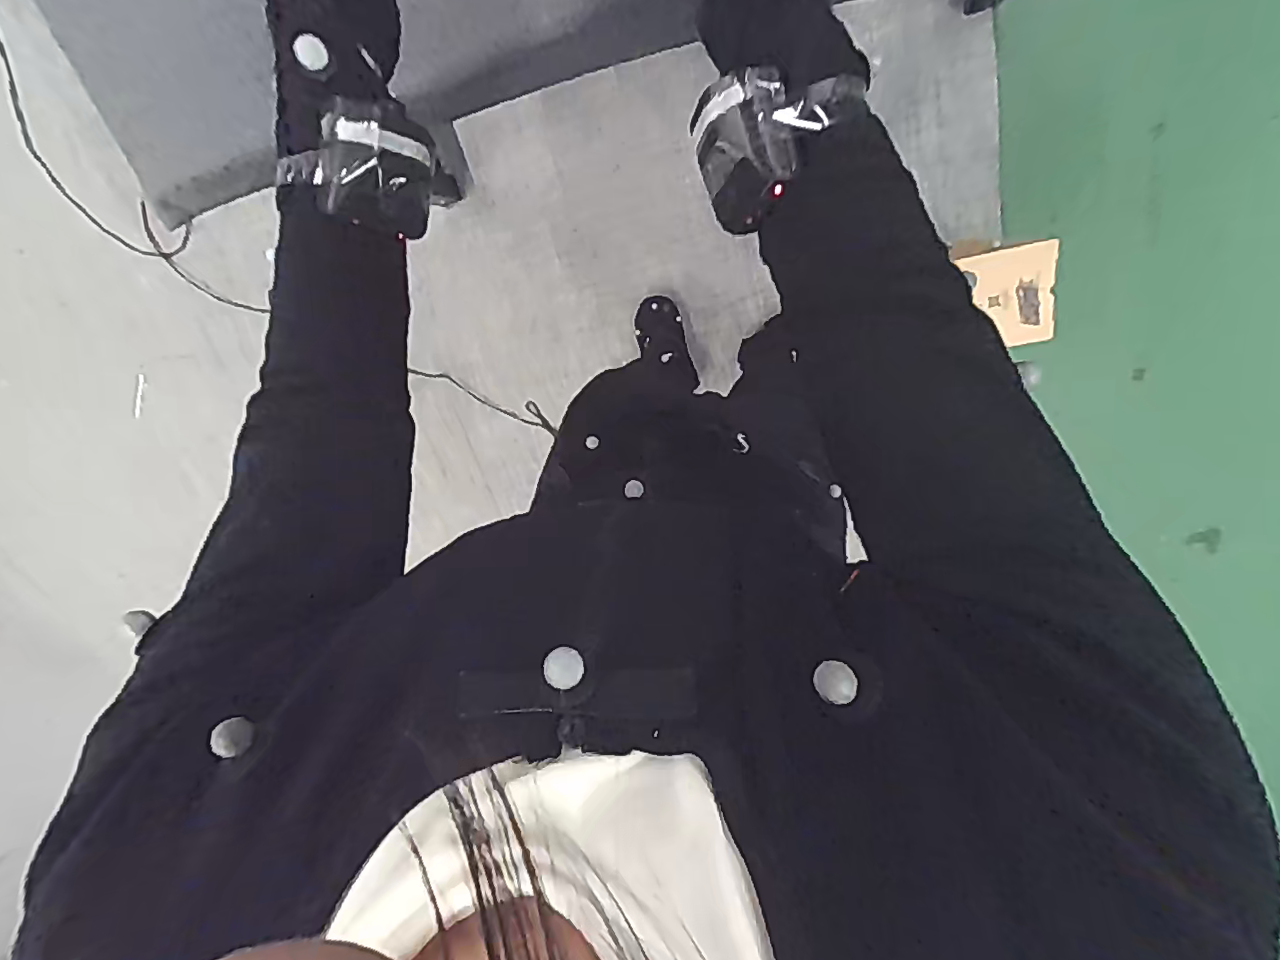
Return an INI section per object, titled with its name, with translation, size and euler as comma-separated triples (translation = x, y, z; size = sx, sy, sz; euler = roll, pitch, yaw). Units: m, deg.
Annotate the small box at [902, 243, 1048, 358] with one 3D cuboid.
[small box]
translation = 0.606, -0.336, 0.999
size = 0.179, 0.176, 0.168
euler = -8, 112, 10
